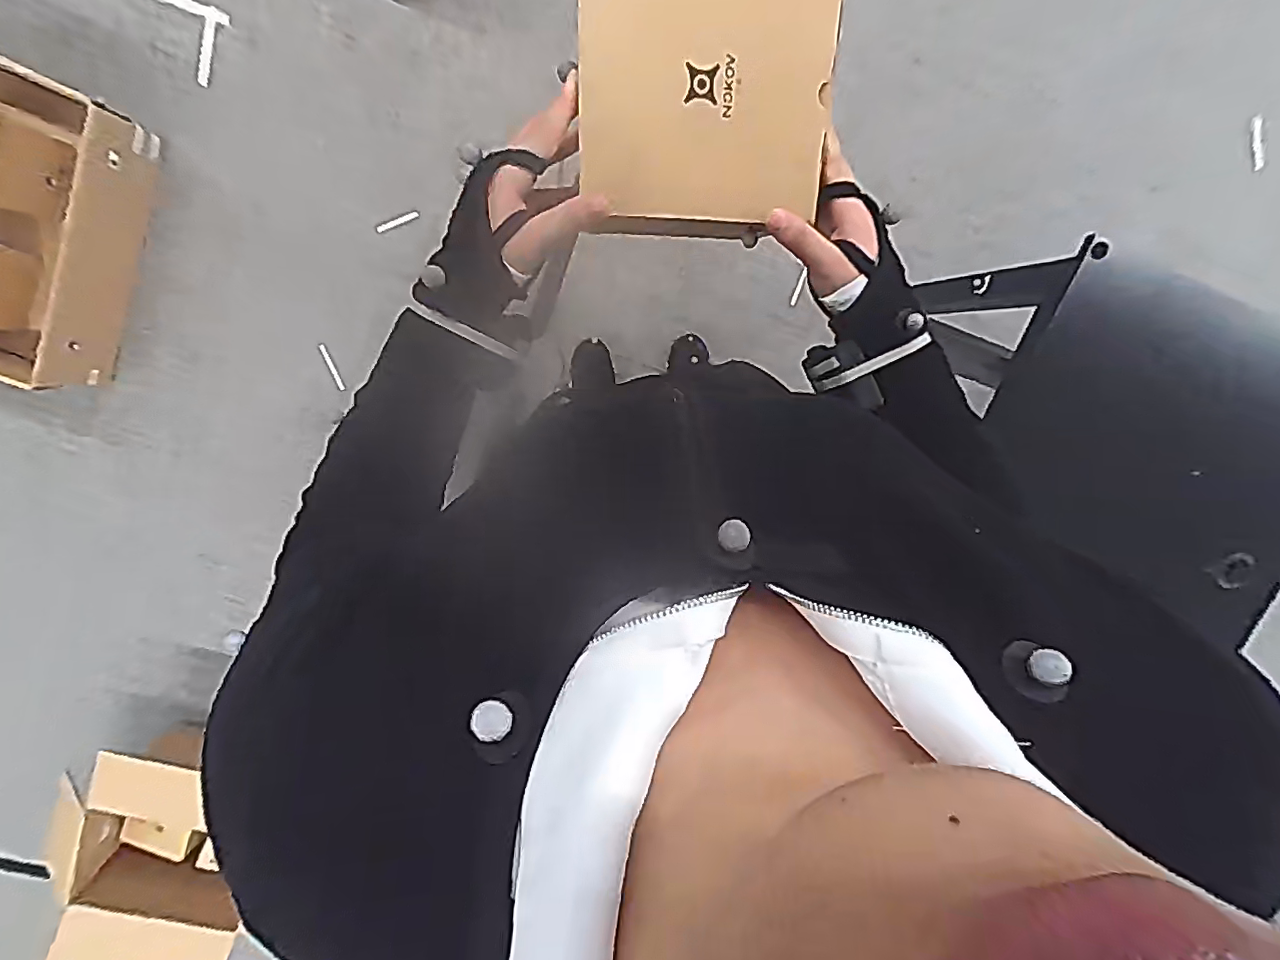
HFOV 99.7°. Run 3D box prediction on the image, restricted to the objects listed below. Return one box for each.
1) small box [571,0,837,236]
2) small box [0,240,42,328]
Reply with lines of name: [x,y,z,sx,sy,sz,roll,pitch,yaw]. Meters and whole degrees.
small box: [0.035,-0.298,0.441,0.179,0.176,0.168,1,110,-7]
small box: [-1.449,-0.437,1.149,0.168,0.176,0.179,23,99,-12]
